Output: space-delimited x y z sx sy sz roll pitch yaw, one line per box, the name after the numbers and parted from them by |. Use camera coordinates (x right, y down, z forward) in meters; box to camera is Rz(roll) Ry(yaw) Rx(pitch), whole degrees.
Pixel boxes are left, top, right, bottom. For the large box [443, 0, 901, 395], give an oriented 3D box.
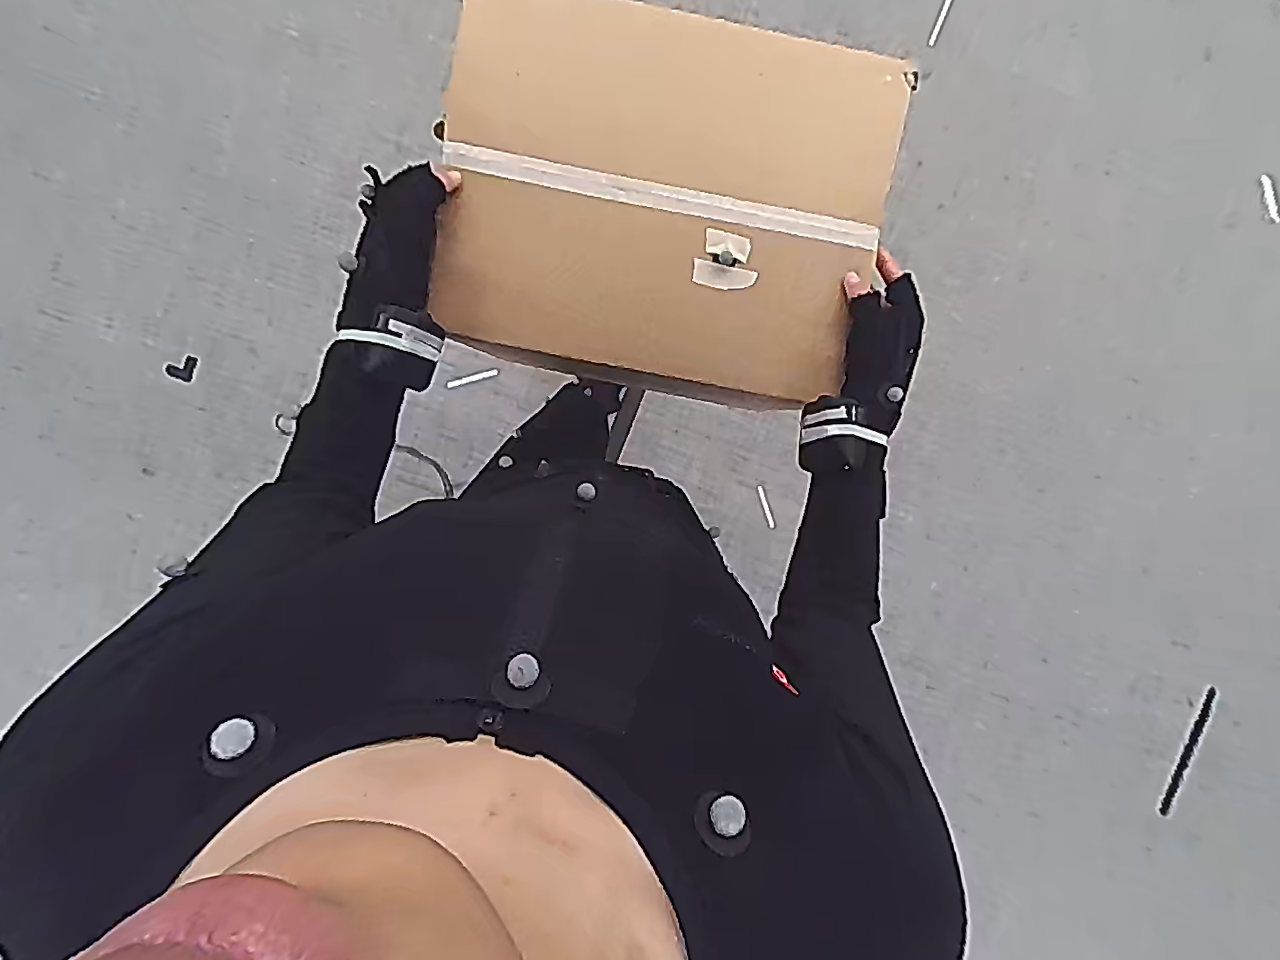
0.021 -0.293 0.664 0.408 0.320 0.320 10 98 -3 | large box
